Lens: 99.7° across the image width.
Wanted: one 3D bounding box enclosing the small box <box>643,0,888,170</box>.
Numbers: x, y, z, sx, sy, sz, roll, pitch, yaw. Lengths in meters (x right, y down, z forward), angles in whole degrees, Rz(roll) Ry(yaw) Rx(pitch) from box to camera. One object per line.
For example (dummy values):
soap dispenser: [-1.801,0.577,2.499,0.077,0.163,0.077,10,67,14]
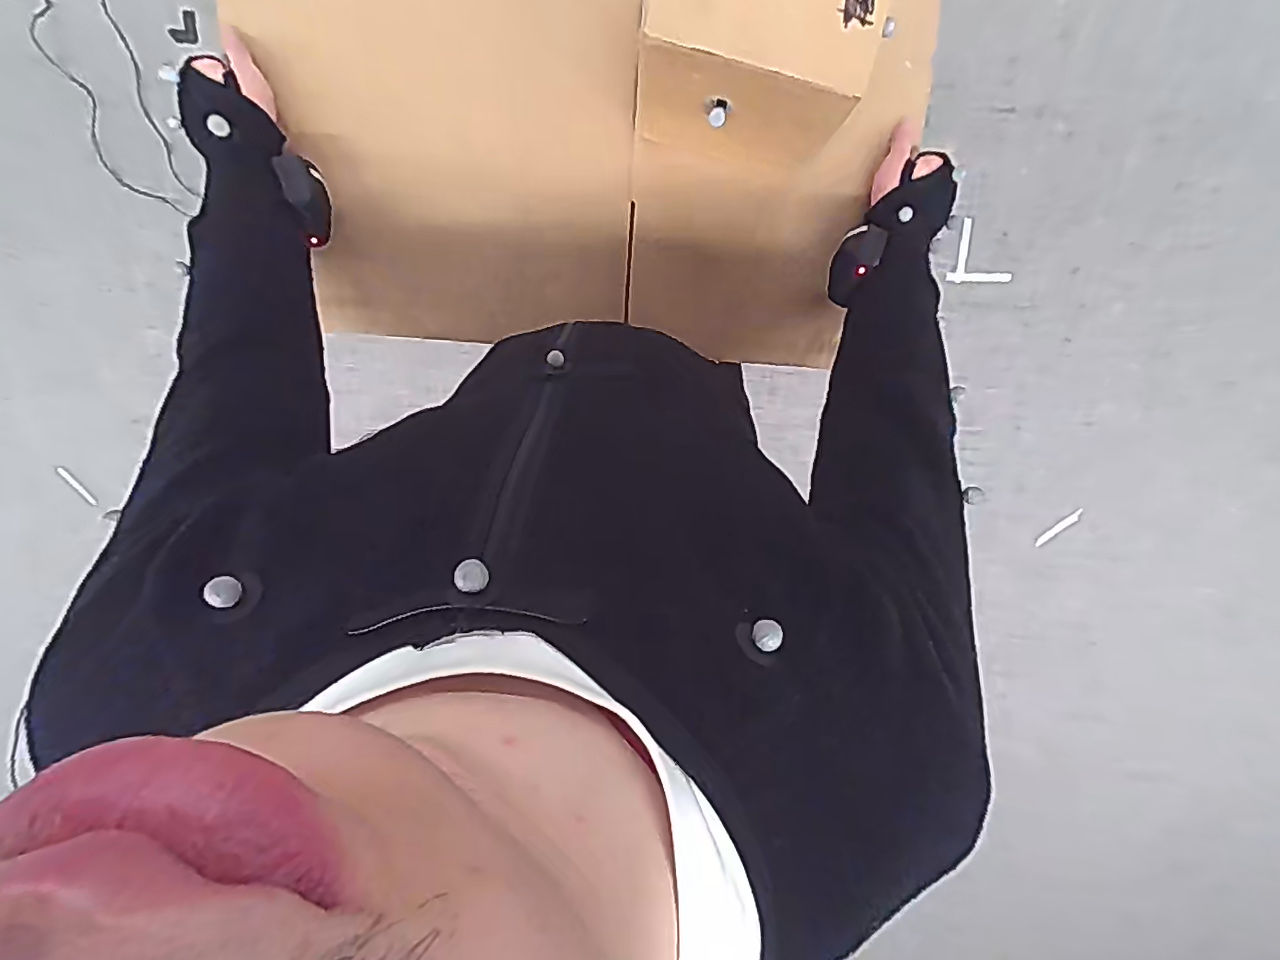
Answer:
small box: [0.106,-0.405,0.478,0.179,0.176,0.168,14,100,-2]
